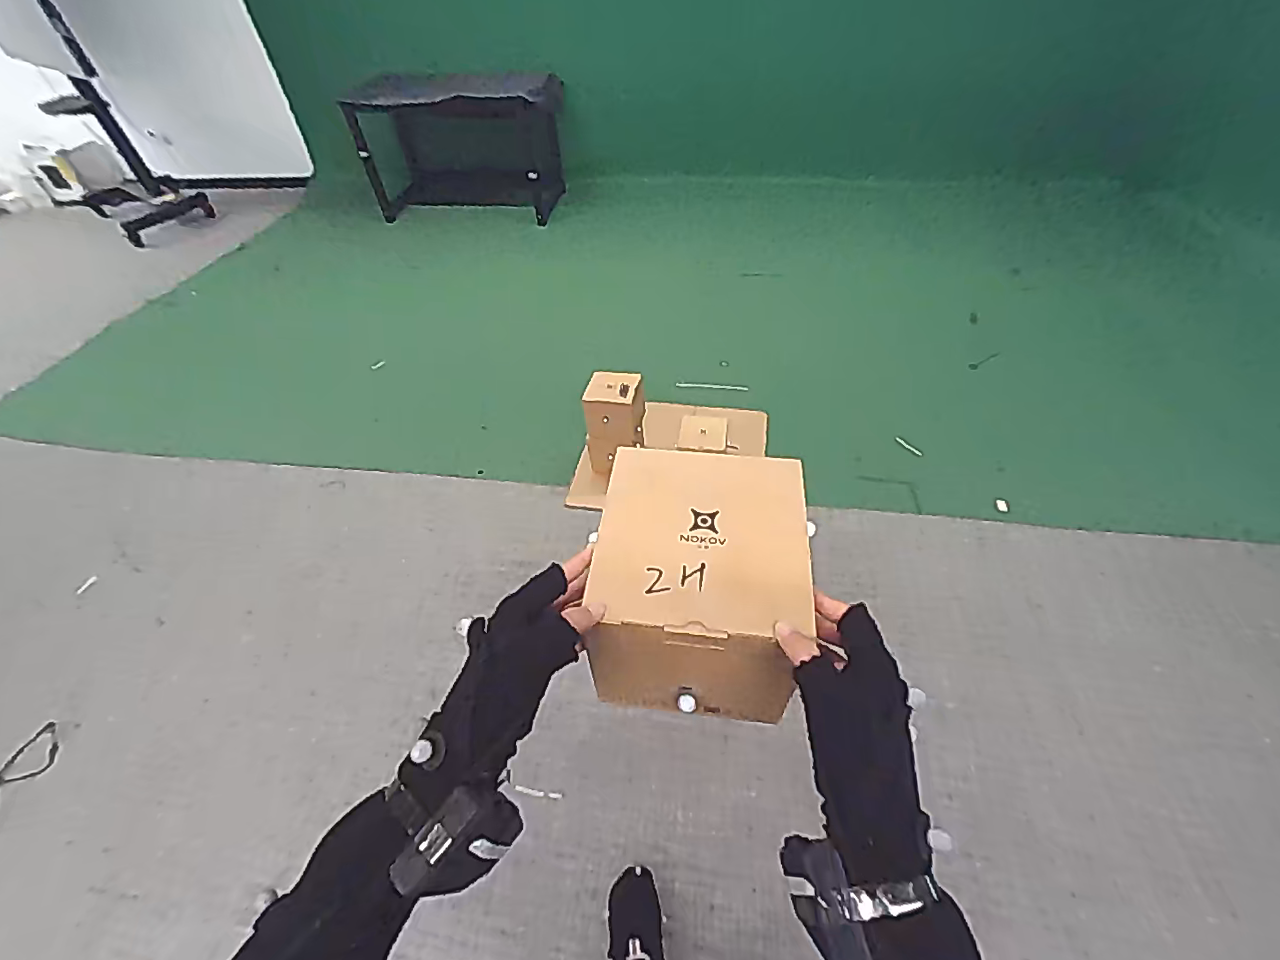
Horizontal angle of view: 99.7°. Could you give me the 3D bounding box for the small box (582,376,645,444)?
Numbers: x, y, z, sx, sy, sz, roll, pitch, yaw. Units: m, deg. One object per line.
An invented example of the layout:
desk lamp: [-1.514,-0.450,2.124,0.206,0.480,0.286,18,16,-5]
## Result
small box: [-0.085,-0.243,1.900,0.179,0.176,0.168,6,47,13]

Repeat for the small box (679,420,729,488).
small box: [0.230,-0.094,1.964,0.168,0.176,0.179,4,47,9]
